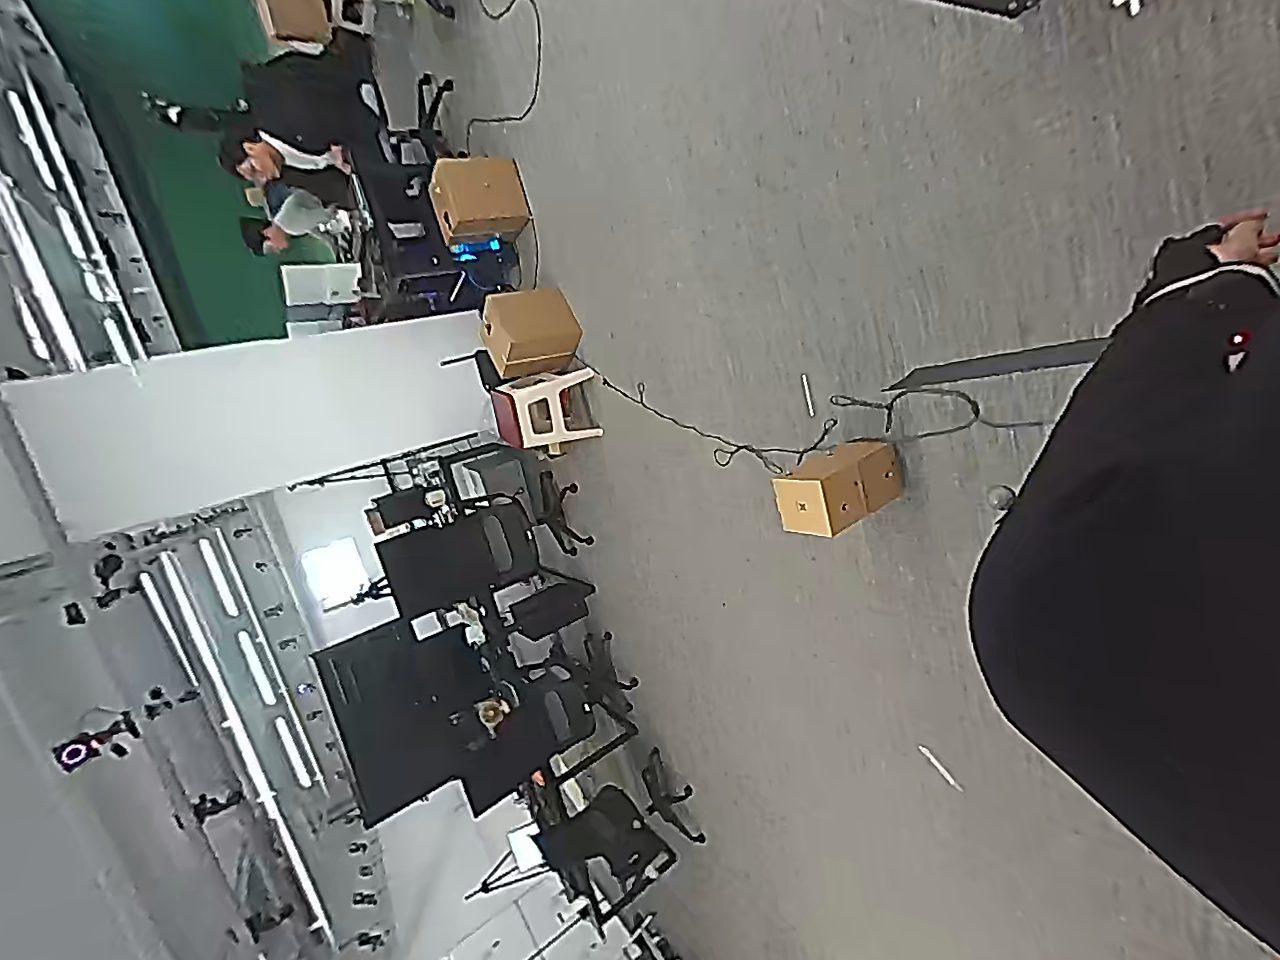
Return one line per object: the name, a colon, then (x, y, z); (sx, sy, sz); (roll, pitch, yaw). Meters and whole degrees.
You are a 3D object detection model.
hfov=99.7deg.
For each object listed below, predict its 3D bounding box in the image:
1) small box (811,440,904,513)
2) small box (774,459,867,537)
small box: (0.644, -0.014, 1.599); (0.179, 0.176, 0.168); (2, 113, 58)
small box: (0.513, 0.044, 1.521); (0.179, 0.176, 0.168); (3, 113, 59)
